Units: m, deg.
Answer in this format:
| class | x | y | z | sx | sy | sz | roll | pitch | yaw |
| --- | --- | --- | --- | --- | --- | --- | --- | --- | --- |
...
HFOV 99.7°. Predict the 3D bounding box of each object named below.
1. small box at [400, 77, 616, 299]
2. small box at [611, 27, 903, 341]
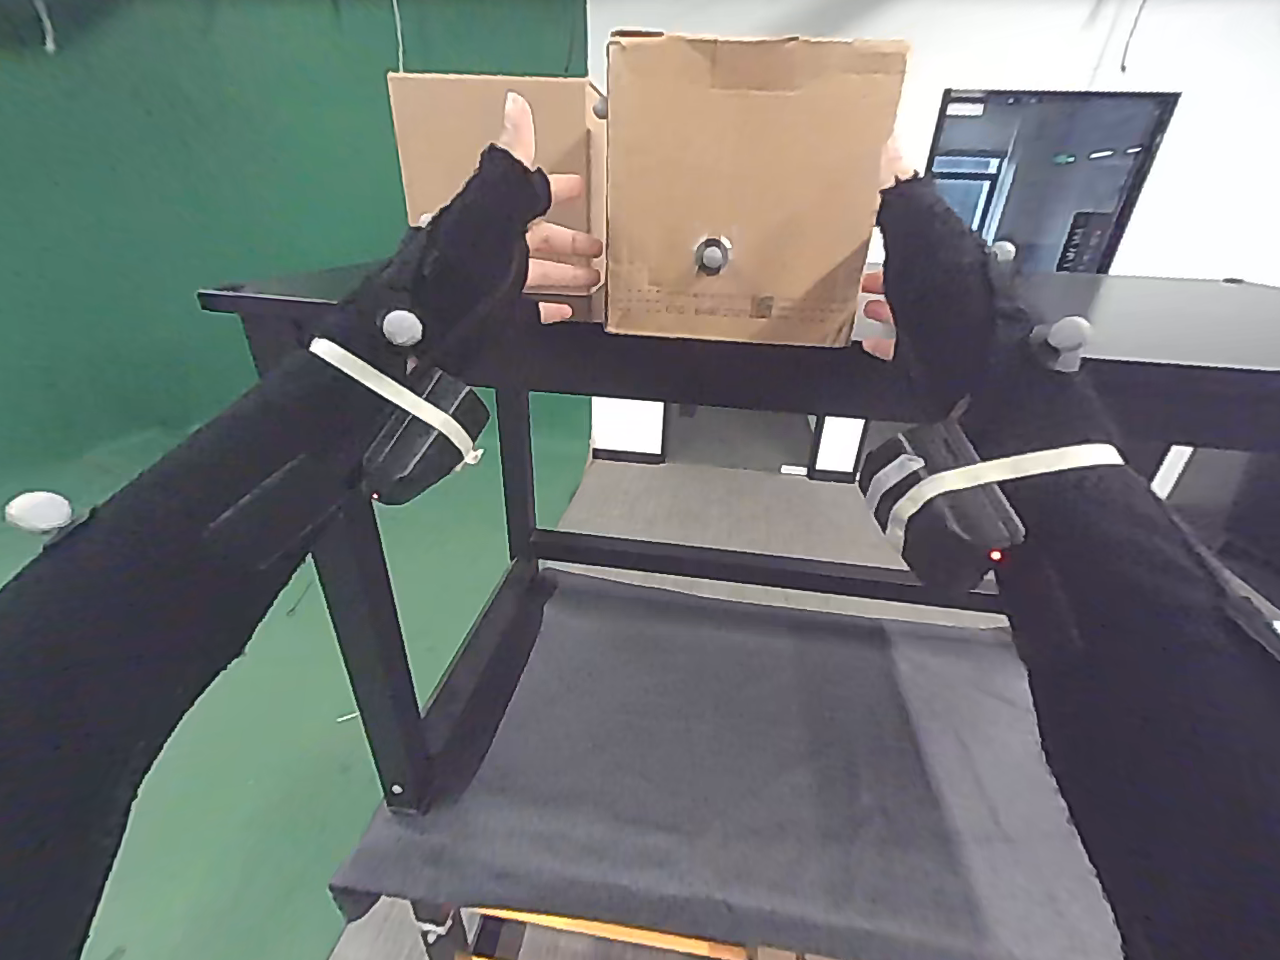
| class | x | y | z | sx | sy | sz | roll | pitch | yaw |
| --- | --- | --- | --- | --- | --- | --- | --- | --- | --- |
| small box | -0.115 | -0.288 | 0.550 | 0.168 | 0.176 | 0.179 | 3 | 27 | 4 |
| small box | 0.069 | -0.212 | 0.413 | 0.168 | 0.176 | 0.179 | 4 | 27 | 4 |
